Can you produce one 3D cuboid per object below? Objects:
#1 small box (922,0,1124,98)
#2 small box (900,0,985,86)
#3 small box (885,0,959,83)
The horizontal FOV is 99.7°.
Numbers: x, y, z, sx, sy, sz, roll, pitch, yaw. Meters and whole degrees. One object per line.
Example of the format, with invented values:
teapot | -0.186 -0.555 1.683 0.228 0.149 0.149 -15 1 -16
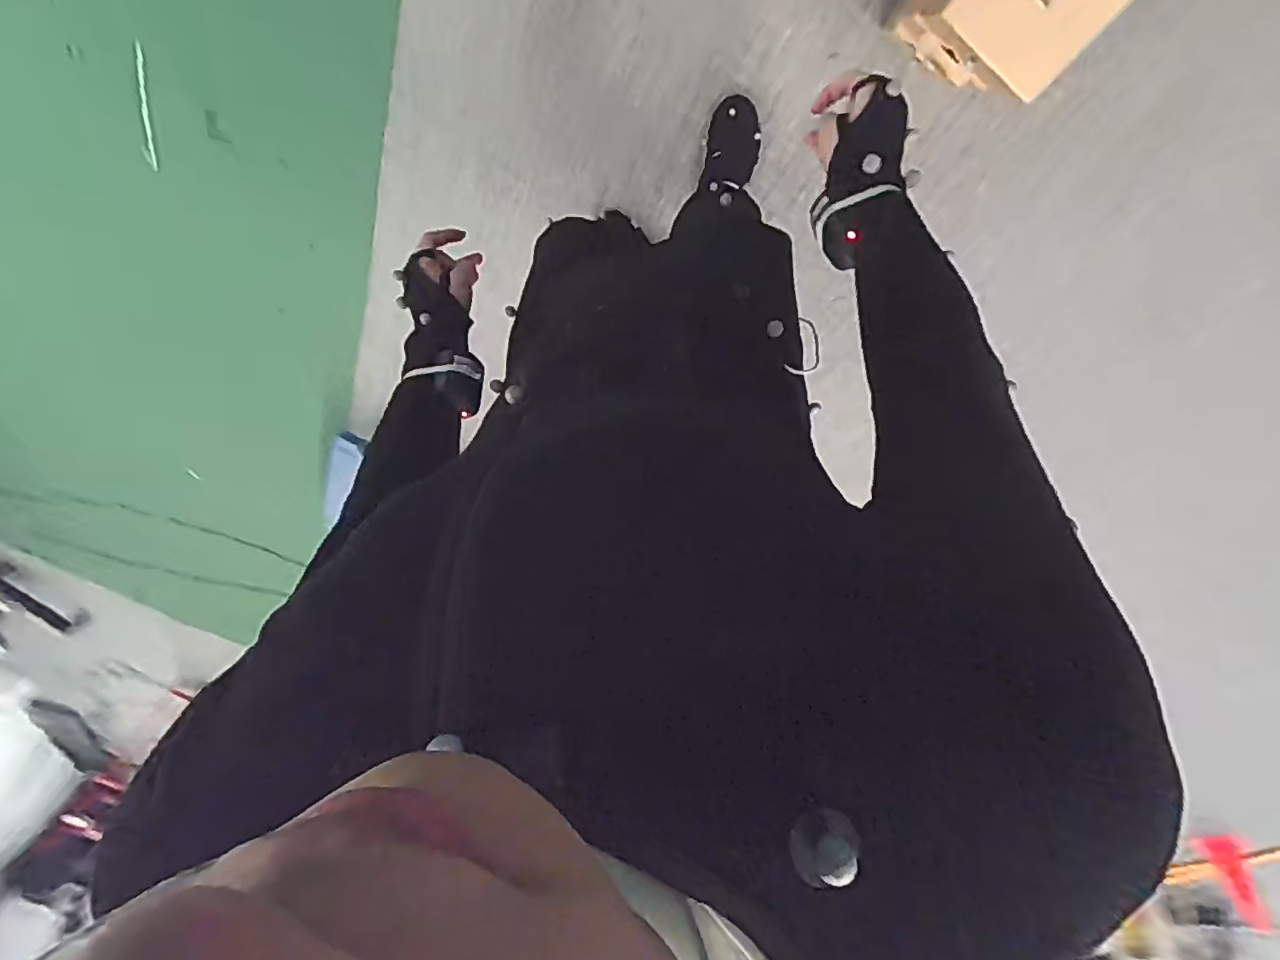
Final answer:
small box | 0.512 -0.657 0.723 0.179 0.176 0.168 33 131 -14
small box | 0.539 -0.765 0.843 0.168 0.176 0.179 34 130 -13
small box | 0.567 -0.863 0.972 0.168 0.176 0.179 30 131 -11
